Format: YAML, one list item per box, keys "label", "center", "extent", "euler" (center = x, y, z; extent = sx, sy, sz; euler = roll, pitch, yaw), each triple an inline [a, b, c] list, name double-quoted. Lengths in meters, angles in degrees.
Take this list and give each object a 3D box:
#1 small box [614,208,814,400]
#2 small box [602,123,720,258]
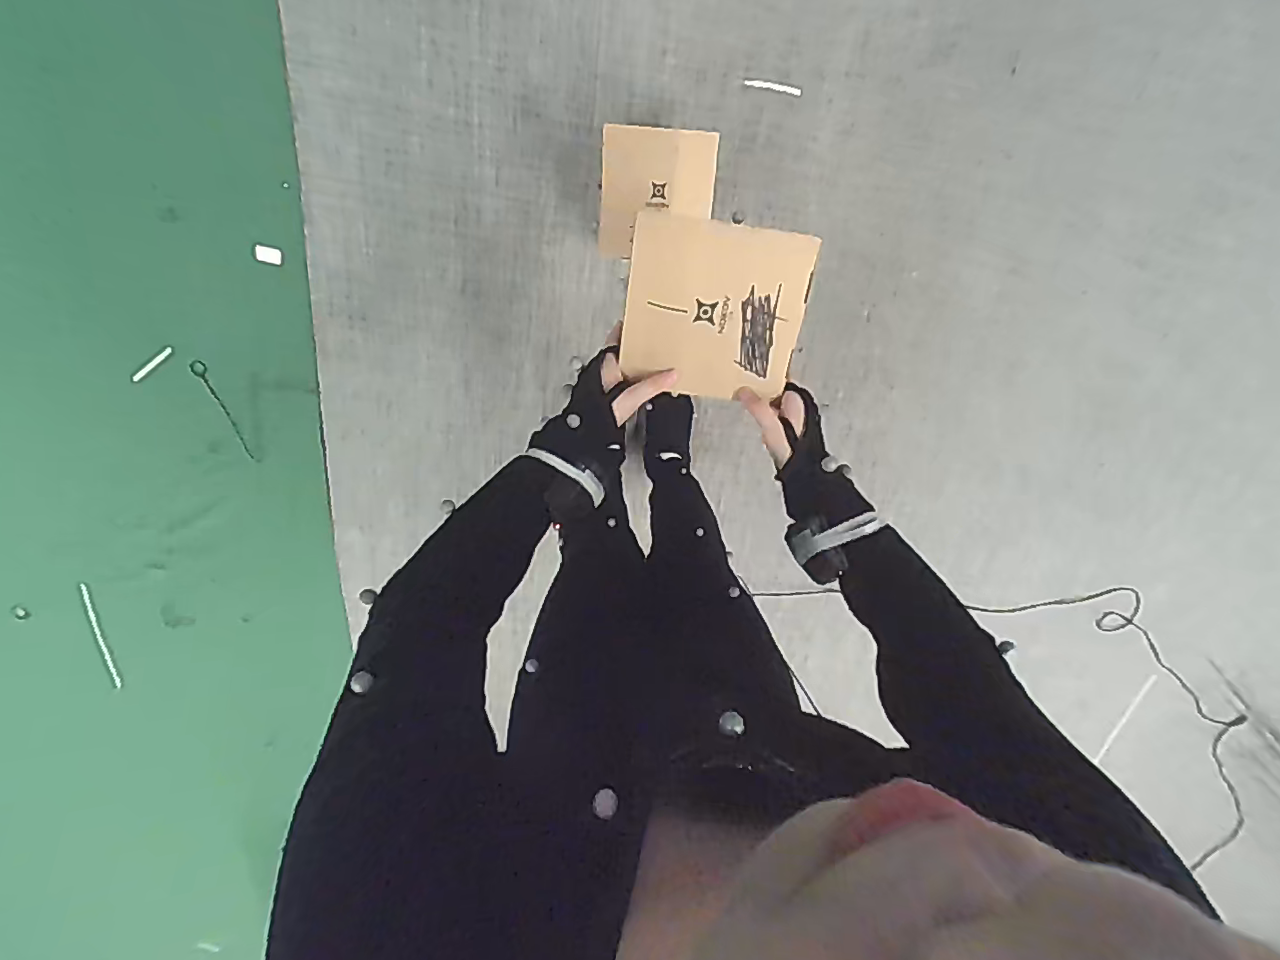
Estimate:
- label: "small box"
  center: [0.069, -0.201, 0.609]
  extent: [0.179, 0.176, 0.168]
  euler: [7, 113, -2]
- label: "small box"
  center: [0.024, -0.452, 0.867]
  extent: [0.168, 0.176, 0.179]
  euler: [2, 116, -3]
